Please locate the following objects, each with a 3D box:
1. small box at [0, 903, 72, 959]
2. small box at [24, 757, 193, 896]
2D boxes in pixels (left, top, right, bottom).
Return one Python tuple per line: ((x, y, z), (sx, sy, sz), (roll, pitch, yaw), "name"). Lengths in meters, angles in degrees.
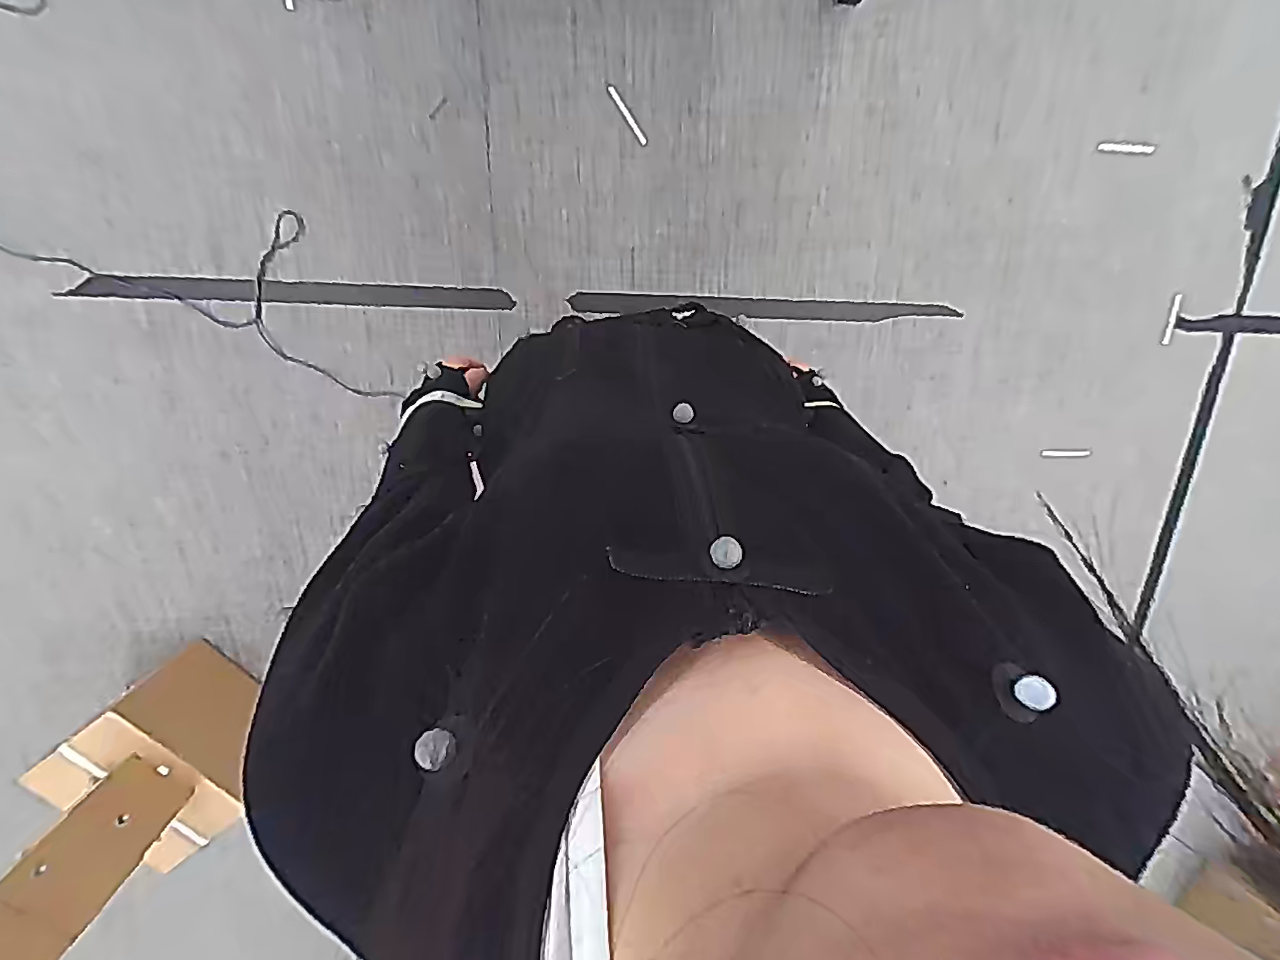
((-1.152, 0.866, 0.910), (0.168, 0.176, 0.179), (-39, 106, 6), "small box")
((-1.185, 0.776, 1.225), (0.168, 0.176, 0.179), (-40, 105, 6), "small box")
